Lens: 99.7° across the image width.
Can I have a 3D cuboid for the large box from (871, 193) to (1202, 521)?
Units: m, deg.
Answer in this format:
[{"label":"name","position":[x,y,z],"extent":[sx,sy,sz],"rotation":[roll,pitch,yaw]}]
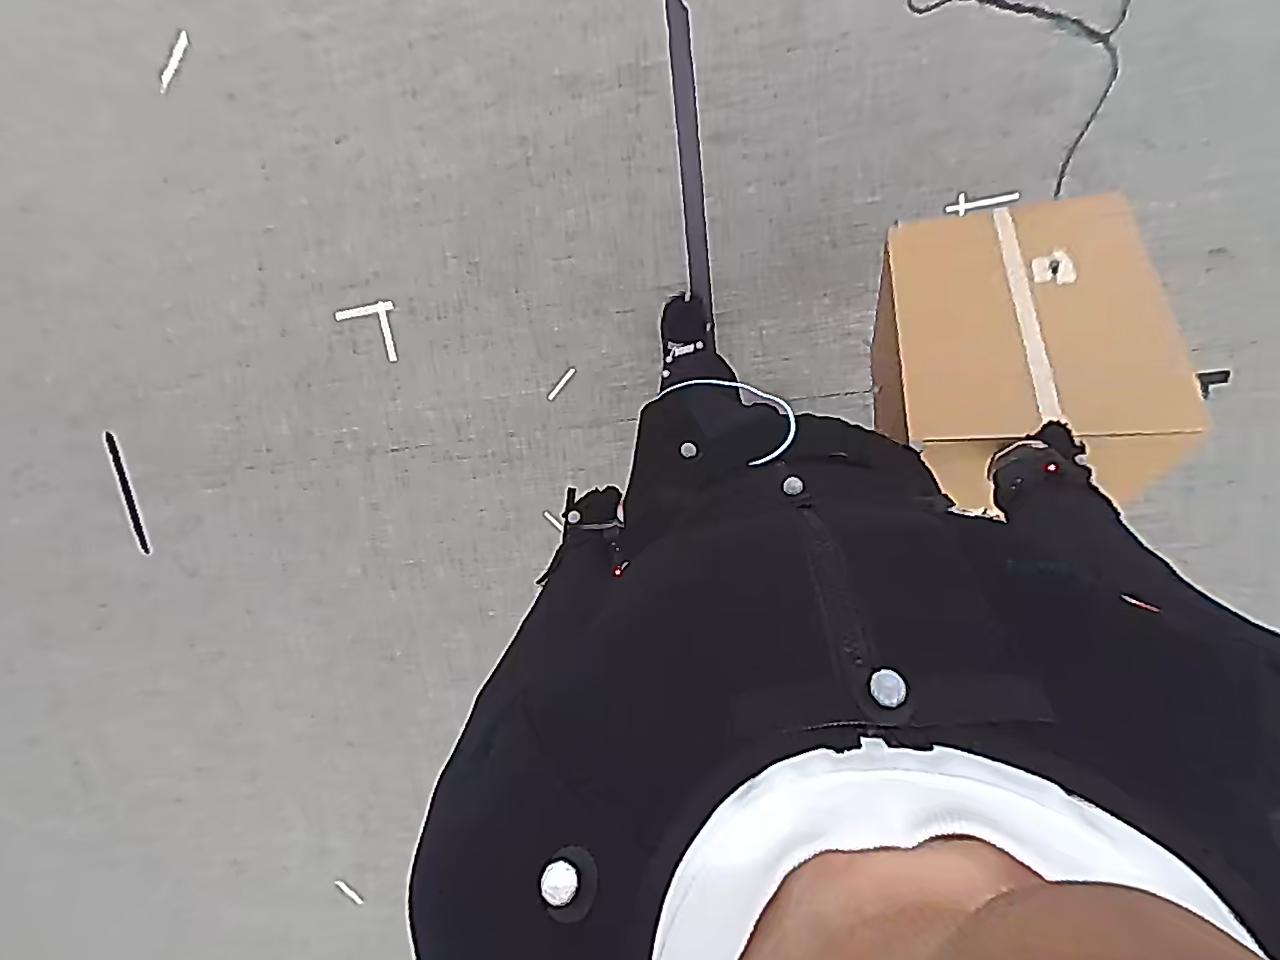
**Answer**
[{"label":"large box","position":[0.565,-0.173,0.876],"extent":[0.320,0.320,0.408],"rotation":[-1,64,16]}]
